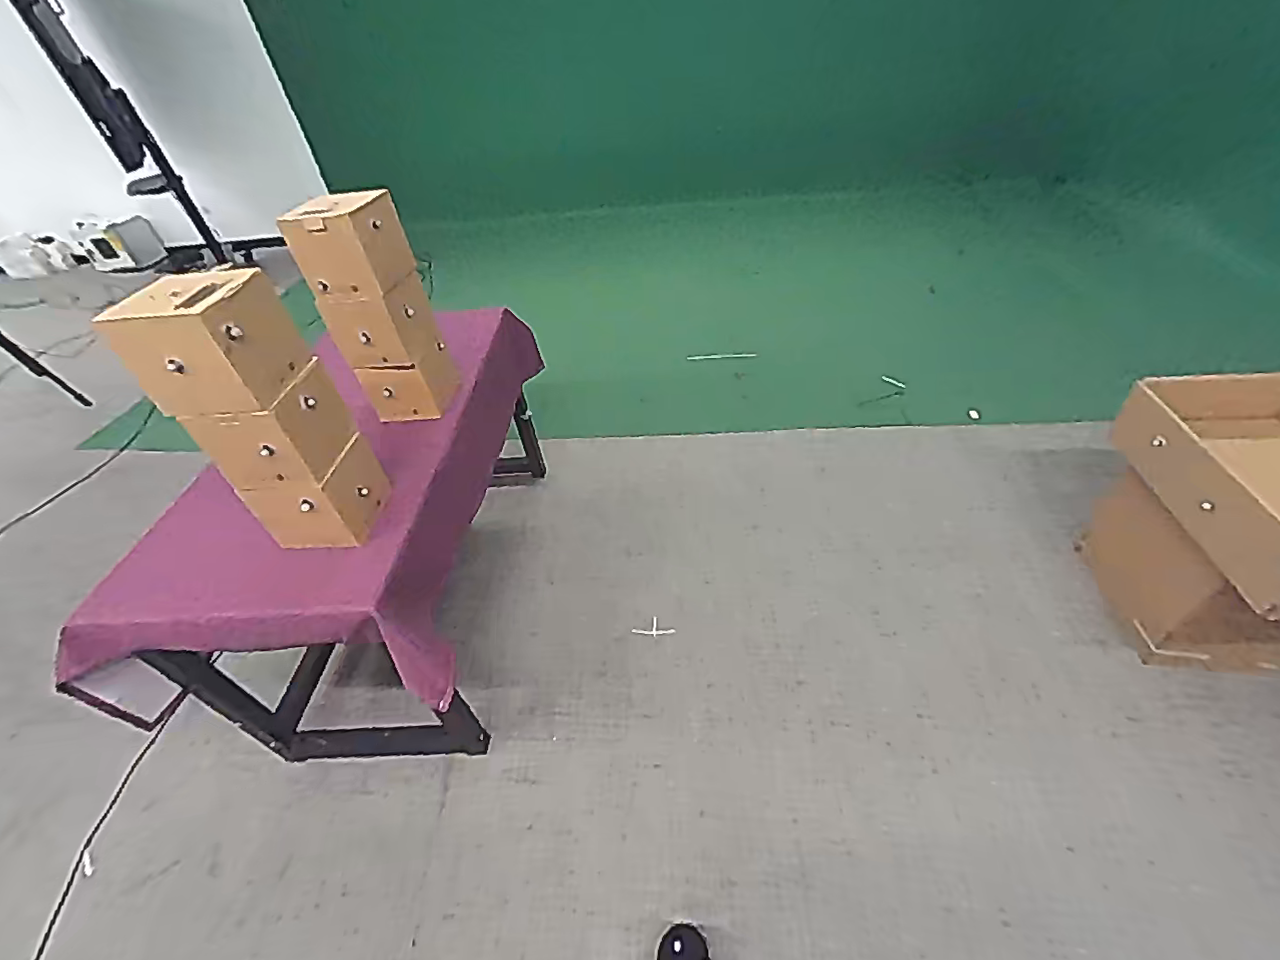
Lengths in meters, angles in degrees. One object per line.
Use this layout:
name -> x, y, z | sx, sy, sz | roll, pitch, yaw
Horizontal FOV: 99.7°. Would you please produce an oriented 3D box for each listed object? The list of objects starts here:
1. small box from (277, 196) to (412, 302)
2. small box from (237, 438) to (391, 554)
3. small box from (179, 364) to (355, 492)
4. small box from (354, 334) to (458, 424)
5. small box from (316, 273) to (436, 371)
small box -> -0.629, -0.498, 1.180 | 0.168, 0.176, 0.179 | -1, 41, 9
small box -> -0.637, 0.034, 1.088 | 0.179, 0.176, 0.168 | -3, 42, 7
small box -> -0.656, -0.089, 0.982 | 0.168, 0.176, 0.179 | -3, 42, 5
small box -> -0.593, -0.255, 1.399 | 0.168, 0.176, 0.179 | -3, 42, 6
small box -> -0.612, -0.371, 1.284 | 0.168, 0.176, 0.179 | -1, 43, 9
